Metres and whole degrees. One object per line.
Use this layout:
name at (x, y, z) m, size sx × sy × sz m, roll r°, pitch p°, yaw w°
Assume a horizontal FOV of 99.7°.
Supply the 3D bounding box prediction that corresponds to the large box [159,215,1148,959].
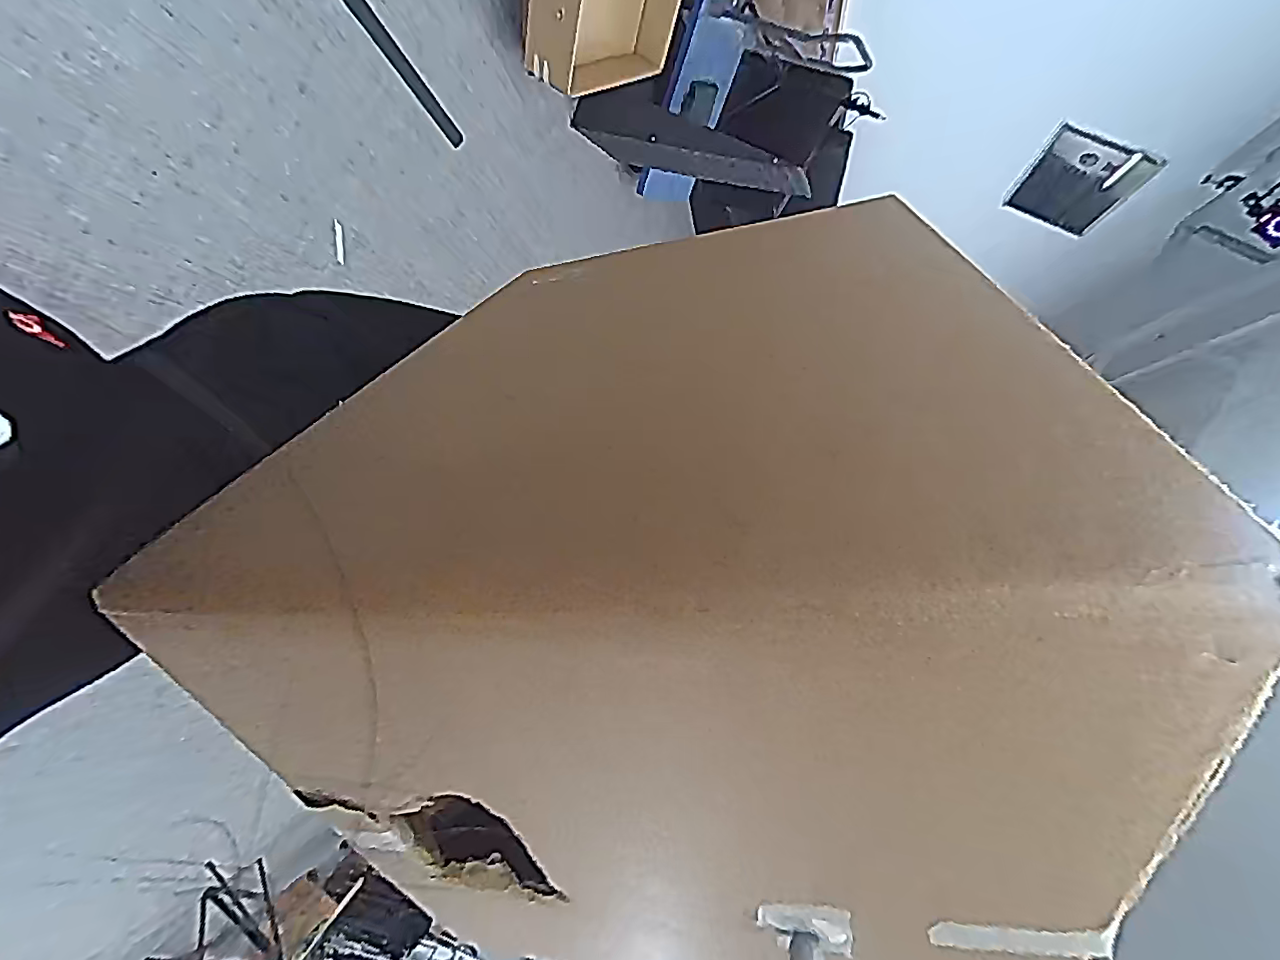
large box at (0.040, 0.036, 0.385) m, size 0.408 × 0.320 × 0.320 m, roll -70°, pitch 152°, yaw -52°
